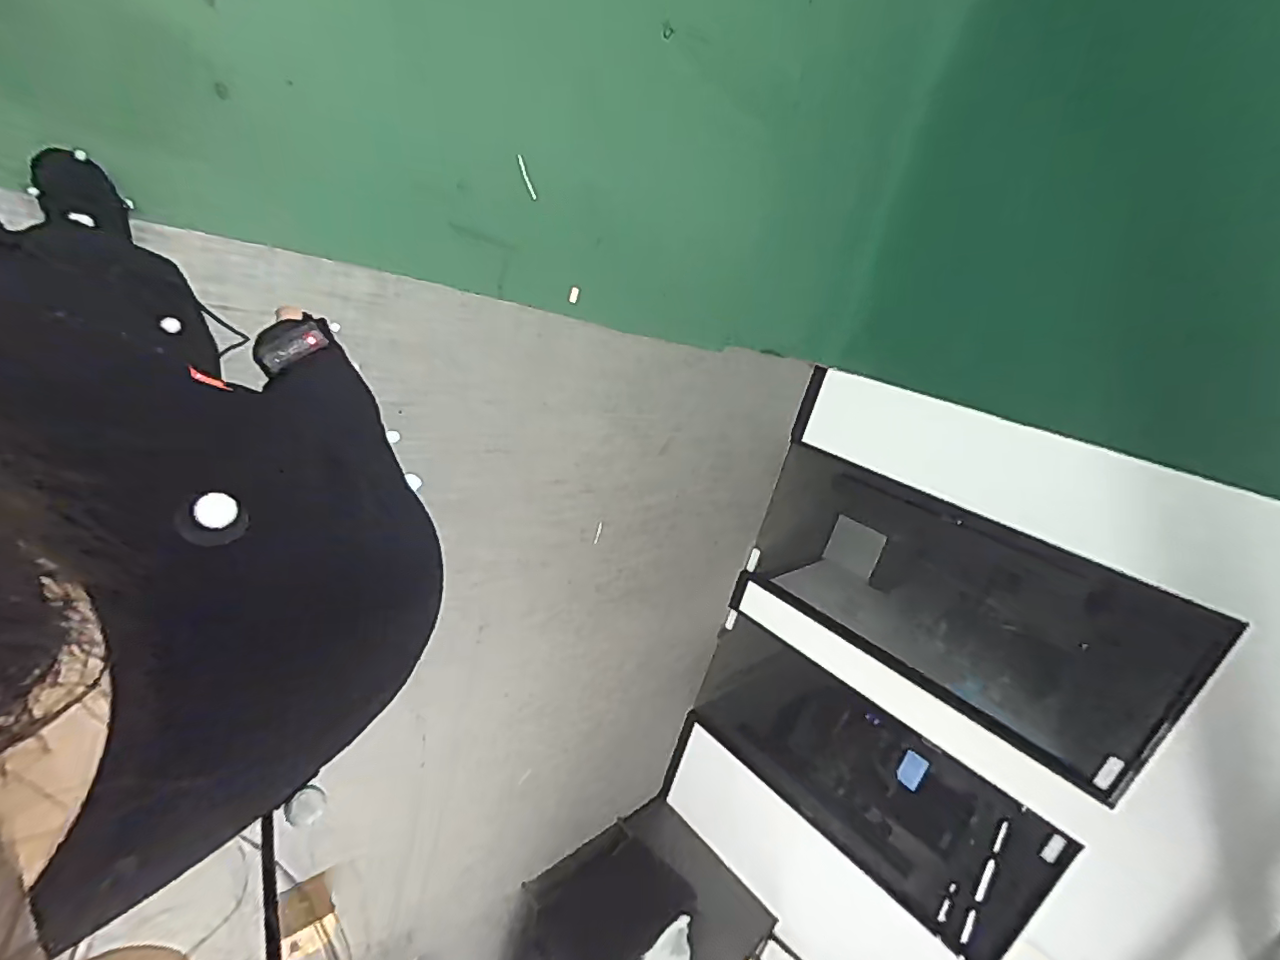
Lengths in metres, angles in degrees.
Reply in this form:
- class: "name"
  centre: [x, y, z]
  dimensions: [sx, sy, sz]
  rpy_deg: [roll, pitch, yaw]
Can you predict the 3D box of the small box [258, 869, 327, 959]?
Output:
- class: "small box"
  centre: [-1.283, 1.597, 1.989]
  dimensions: [0.179, 0.176, 0.168]
  rpy_deg: [-3, 116, -49]
